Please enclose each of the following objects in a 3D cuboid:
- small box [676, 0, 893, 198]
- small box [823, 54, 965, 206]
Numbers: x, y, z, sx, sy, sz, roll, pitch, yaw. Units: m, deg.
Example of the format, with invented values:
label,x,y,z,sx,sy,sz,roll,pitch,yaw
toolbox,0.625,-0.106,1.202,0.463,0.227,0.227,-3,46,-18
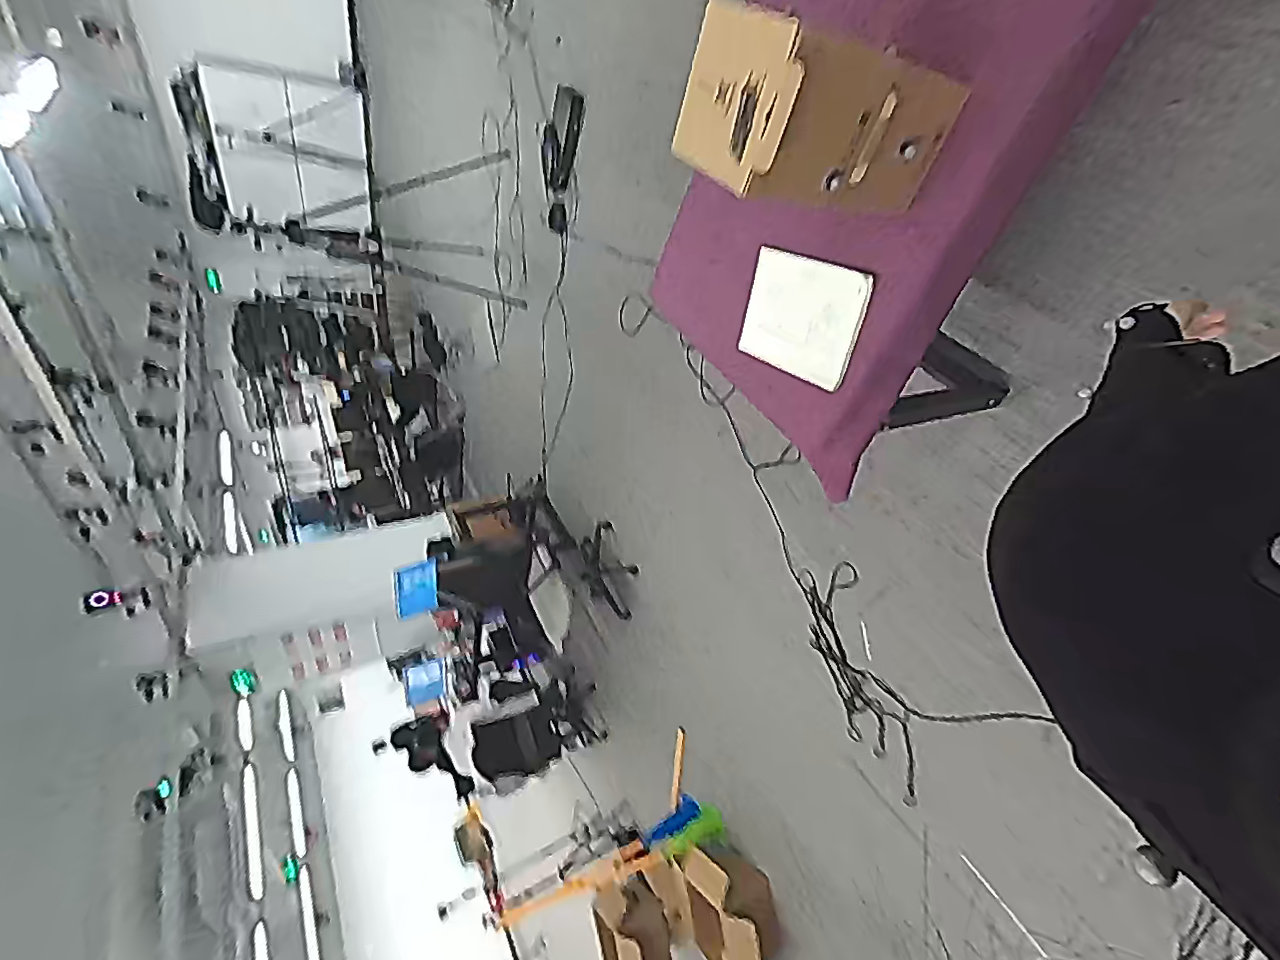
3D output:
label,x,y,z,sx,sy,sz,roll,pitch,yaw
small box,0.178,-0.476,0.689,0.179,0.176,0.168,56,143,35
small box,0.314,-0.510,0.776,0.179,0.176,0.168,53,141,34
